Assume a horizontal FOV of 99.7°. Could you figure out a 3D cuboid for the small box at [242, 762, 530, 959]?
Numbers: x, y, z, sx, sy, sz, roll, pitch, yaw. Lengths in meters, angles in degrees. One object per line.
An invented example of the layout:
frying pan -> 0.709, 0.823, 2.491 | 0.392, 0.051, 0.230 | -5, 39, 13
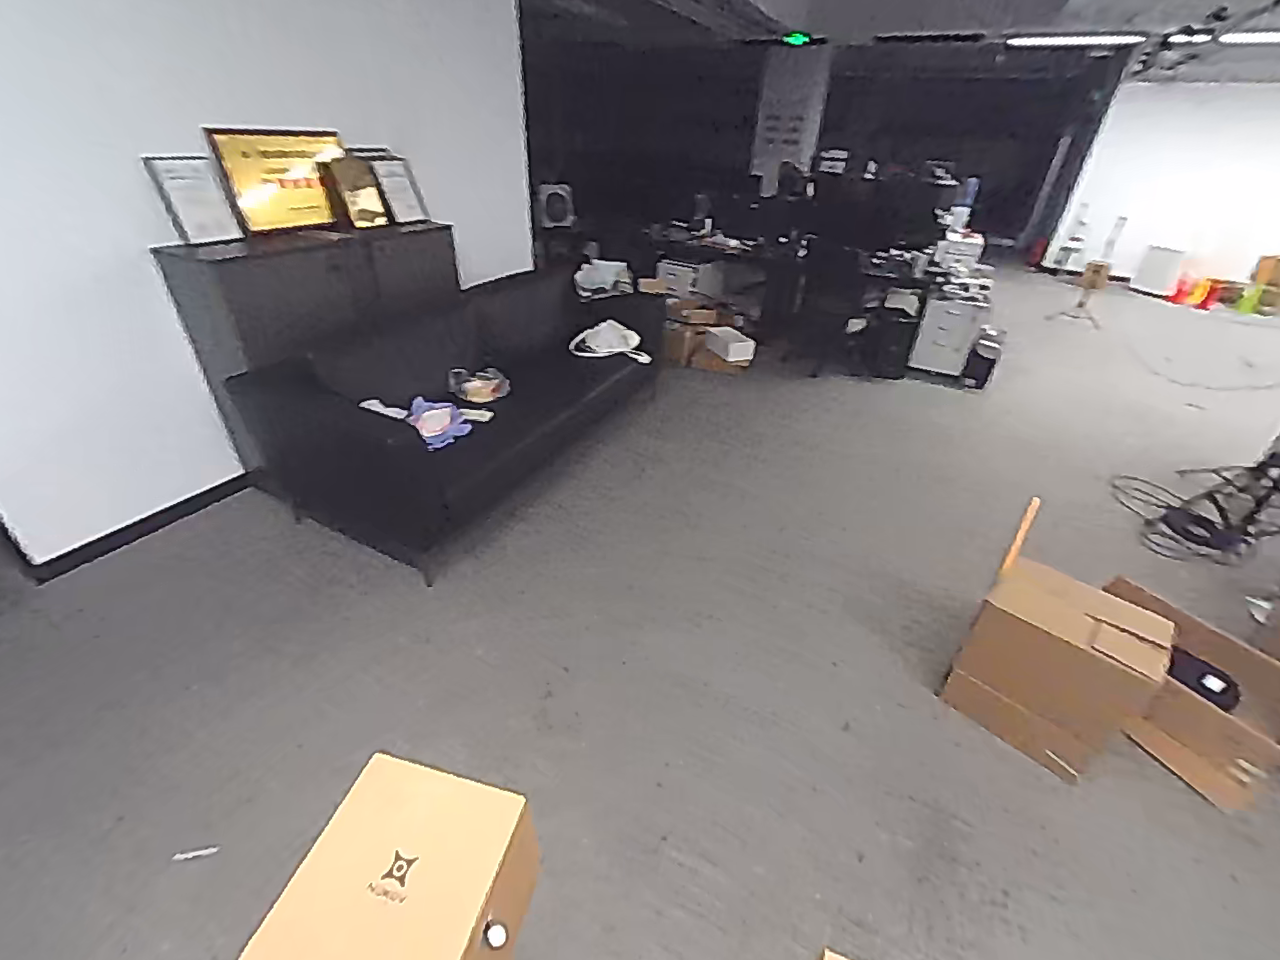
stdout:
small box -> -0.210, 0.406, 0.501 | 0.168, 0.176, 0.179 | 10, 37, 10
